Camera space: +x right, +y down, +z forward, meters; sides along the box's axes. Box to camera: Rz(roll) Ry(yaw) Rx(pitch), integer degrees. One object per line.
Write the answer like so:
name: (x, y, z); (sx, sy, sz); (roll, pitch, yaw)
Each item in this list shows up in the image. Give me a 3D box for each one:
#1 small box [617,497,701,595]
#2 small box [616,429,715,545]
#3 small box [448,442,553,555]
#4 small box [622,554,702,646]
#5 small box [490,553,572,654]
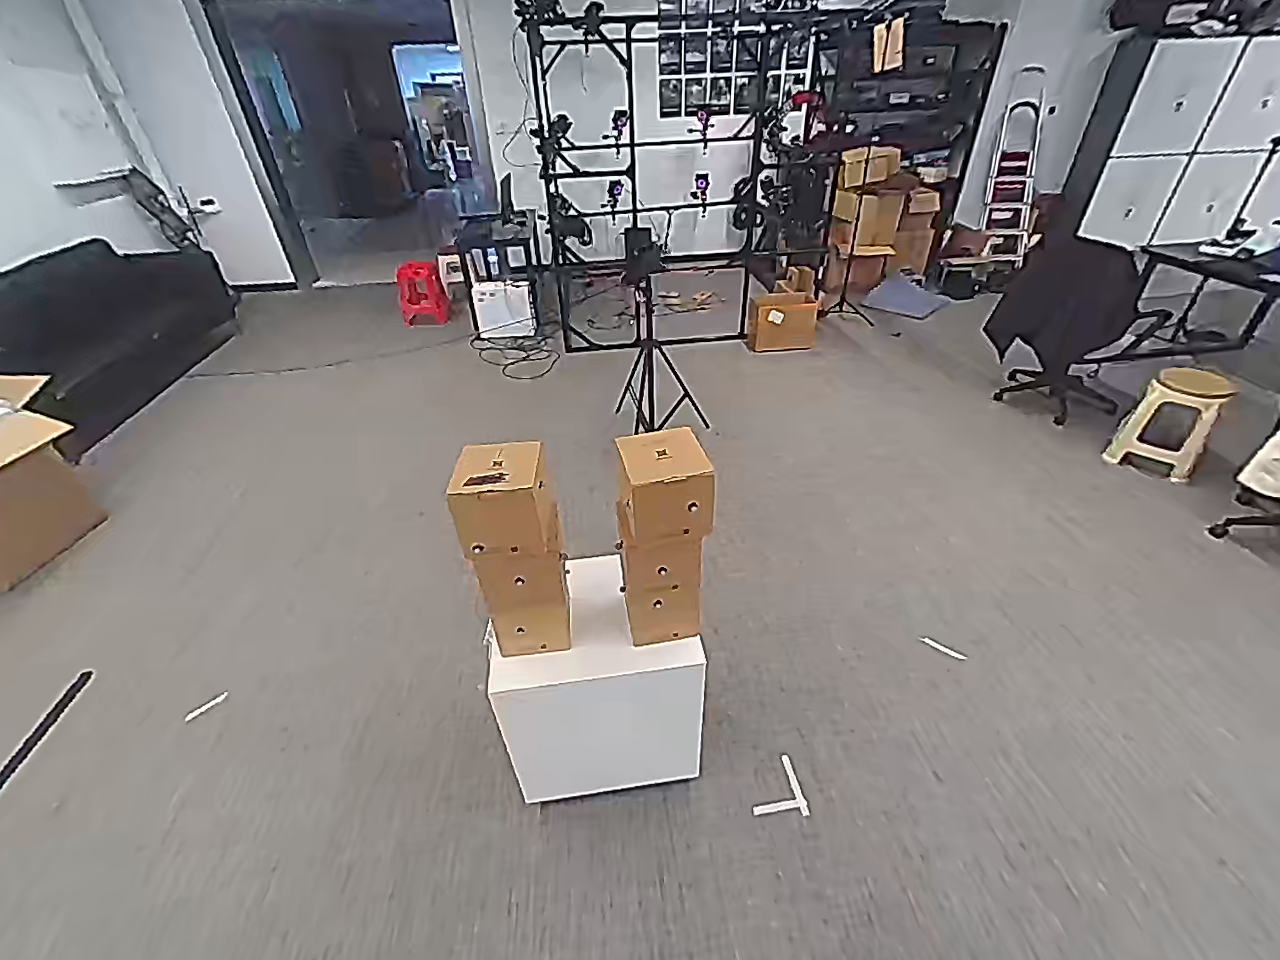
small box: (0.043, 0.144, 1.230); (0.168, 0.176, 0.179); (-7, 36, -5)
small box: (0.051, 0.018, 1.126); (0.168, 0.176, 0.179); (-10, 36, -10)
small box: (-0.276, 0.043, 1.116); (0.168, 0.176, 0.179); (-4, 35, -1)
small box: (0.050, 0.277, 1.327); (0.168, 0.176, 0.179); (-9, 36, -6)
small box: (-0.257, 0.305, 1.314); (0.168, 0.176, 0.179); (-5, 36, -4)
